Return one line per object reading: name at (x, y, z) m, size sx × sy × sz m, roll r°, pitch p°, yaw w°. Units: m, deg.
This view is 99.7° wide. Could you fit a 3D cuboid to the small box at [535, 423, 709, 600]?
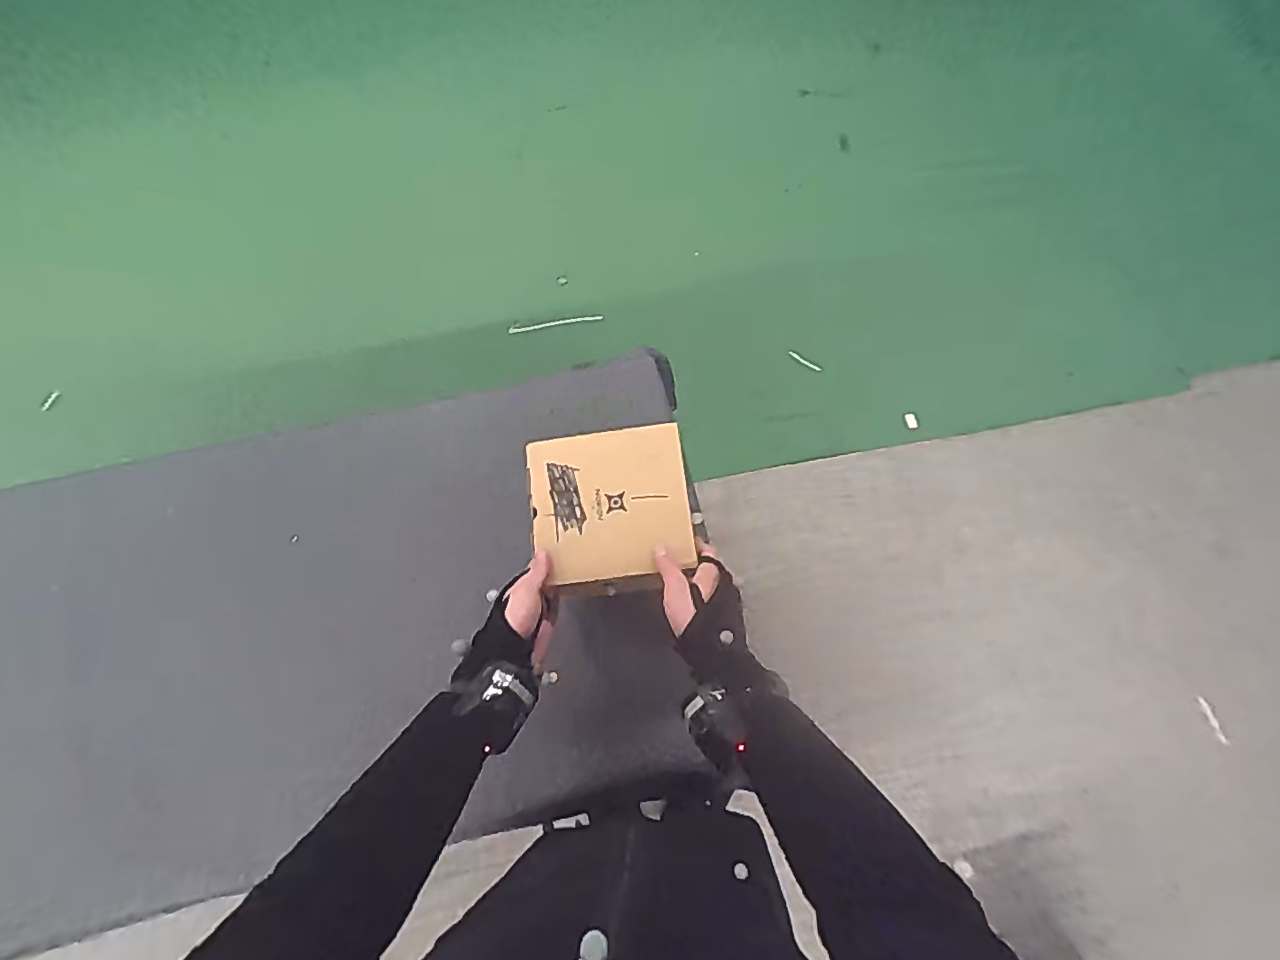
small box at (-0.019, 0.047, 0.648) m, size 0.179 × 0.176 × 0.168 m, roll -7°, pitch 73°, yaw 0°
